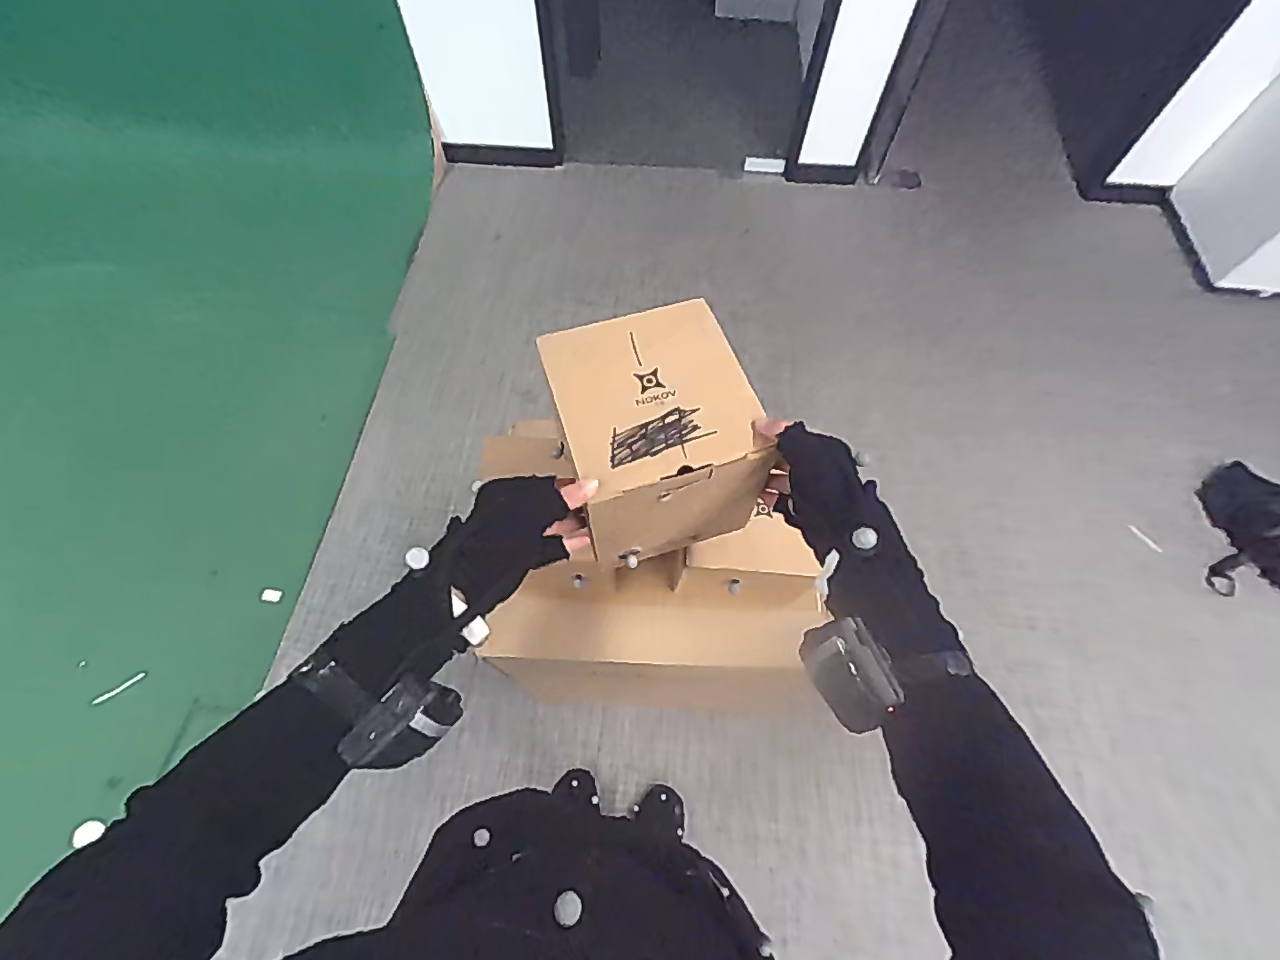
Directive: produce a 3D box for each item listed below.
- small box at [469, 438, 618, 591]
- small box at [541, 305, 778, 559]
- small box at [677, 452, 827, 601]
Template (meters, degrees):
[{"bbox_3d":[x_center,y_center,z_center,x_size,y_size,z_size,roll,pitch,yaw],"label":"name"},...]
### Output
[{"bbox_3d":[-0.117,0.055,0.755,0.179,0.176,0.168,1,65,1],"label":"small box"},{"bbox_3d":[0.013,-0.036,0.540,0.168,0.176,0.179,-17,63,-9],"label":"small box"},{"bbox_3d":[0.145,0.068,0.752,0.179,0.176,0.168,4,67,2],"label":"small box"}]
